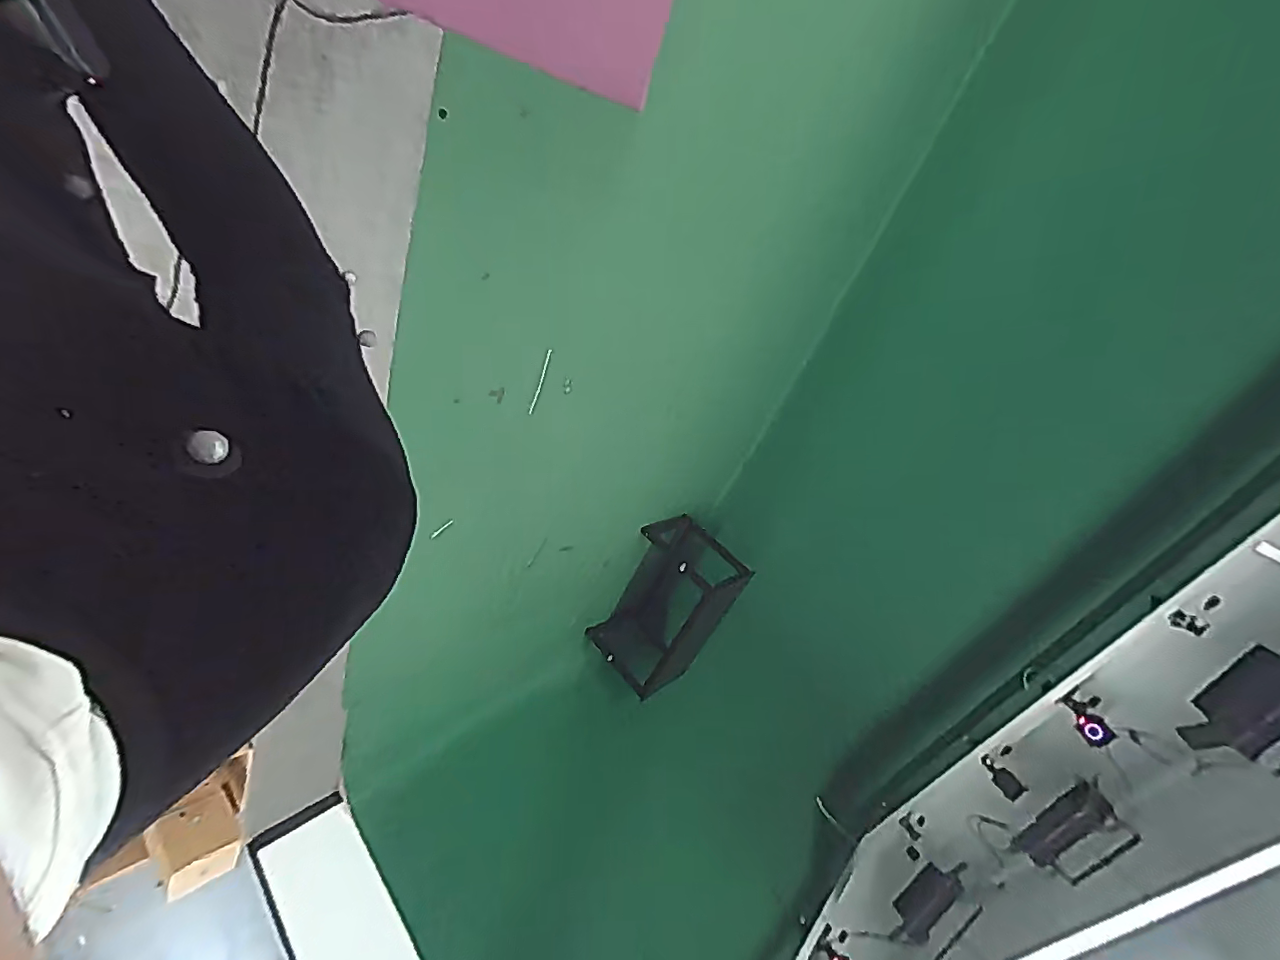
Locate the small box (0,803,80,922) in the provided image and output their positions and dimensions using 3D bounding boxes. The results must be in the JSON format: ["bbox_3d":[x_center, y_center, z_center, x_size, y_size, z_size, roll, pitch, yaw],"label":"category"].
[{"bbox_3d":[-1.593,0.994,1.411,0.168,0.176,0.179,-8,133,-50],"label":"small box"}]

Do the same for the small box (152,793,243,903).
[{"bbox_3d":[-1.287,1.057,1.569,0.168,0.176,0.179,-7,132,-52],"label":"small box"}]
